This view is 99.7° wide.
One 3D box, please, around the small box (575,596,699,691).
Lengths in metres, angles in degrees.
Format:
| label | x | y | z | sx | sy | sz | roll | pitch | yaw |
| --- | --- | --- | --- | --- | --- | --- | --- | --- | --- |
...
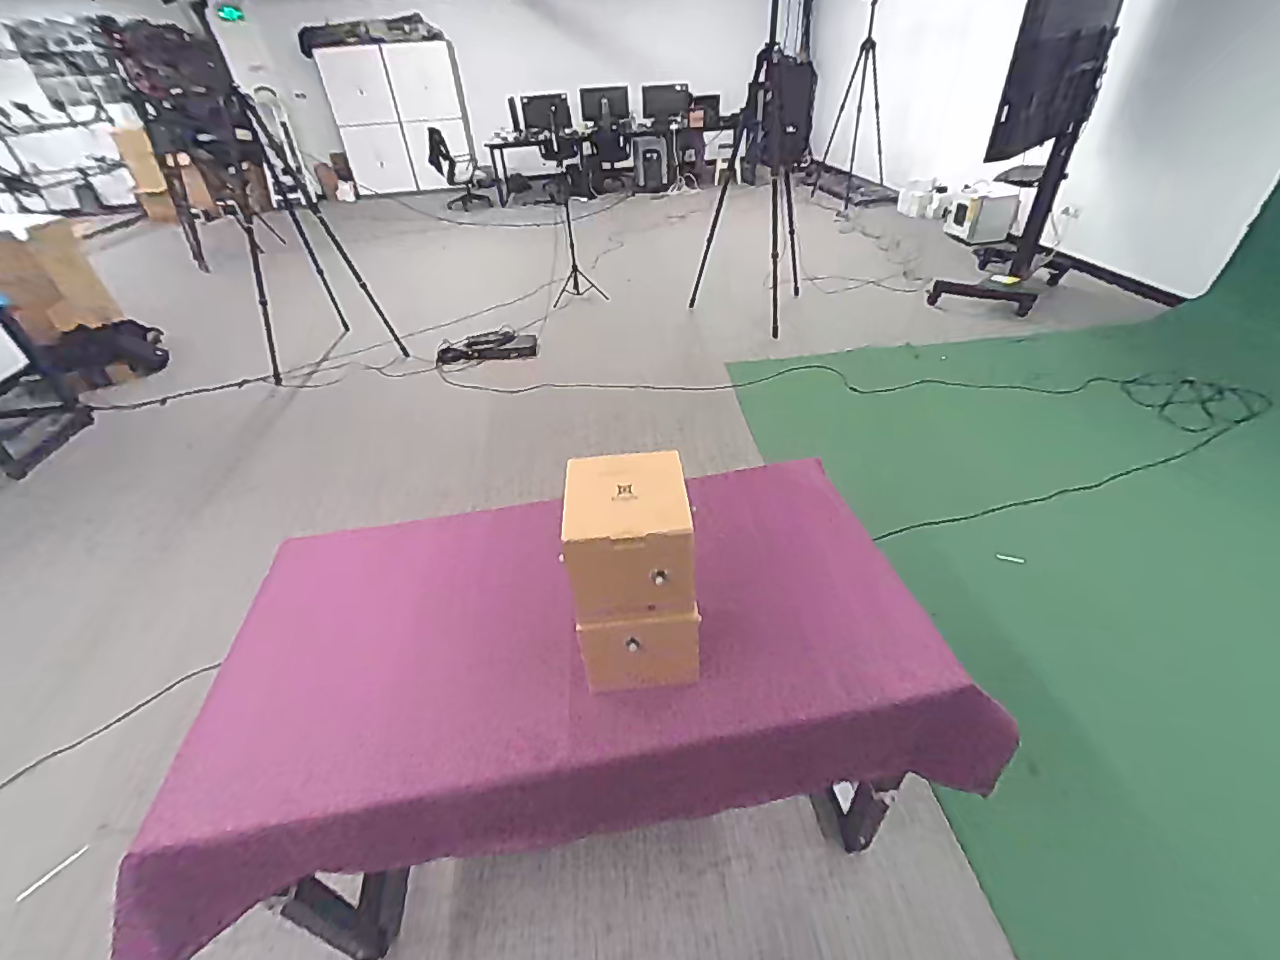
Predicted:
| label | x | y | z | sx | sy | sz | roll | pitch | yaw |
| --- | --- | --- | --- | --- | --- | --- | --- | --- | --- |
| small box | -0.002 | 0.220 | 0.869 | 0.179 | 0.176 | 0.168 | -6 | 38 | 0 |

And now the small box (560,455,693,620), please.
| label | x | y | z | sx | sy | sz | roll | pitch | yaw |
| --- | --- | --- | --- | --- | --- | --- | --- | --- | --- |
| small box | -0.015 | 0.086 | 0.777 | 0.168 | 0.176 | 0.179 | -5 | 37 | 0 |
